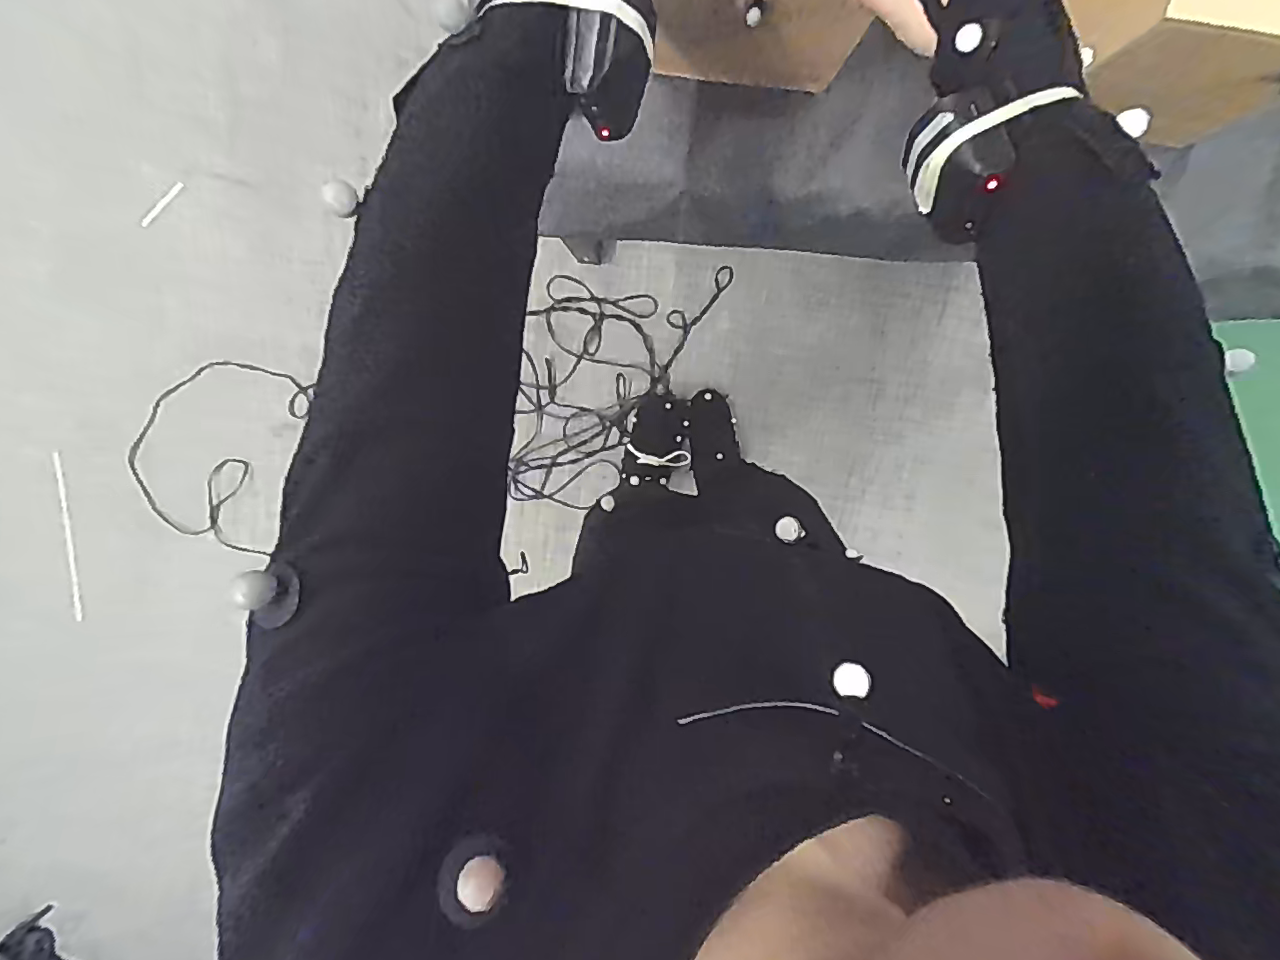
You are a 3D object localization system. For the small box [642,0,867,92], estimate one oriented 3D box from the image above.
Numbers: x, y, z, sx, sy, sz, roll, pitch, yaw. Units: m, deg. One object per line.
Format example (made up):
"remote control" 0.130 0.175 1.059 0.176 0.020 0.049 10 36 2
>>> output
"small box" 0.096 -0.443 0.429 0.179 0.176 0.168 6 103 -2

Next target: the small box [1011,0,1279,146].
"small box" 0.451 -0.398 0.437 0.179 0.176 0.168 7 102 -2
